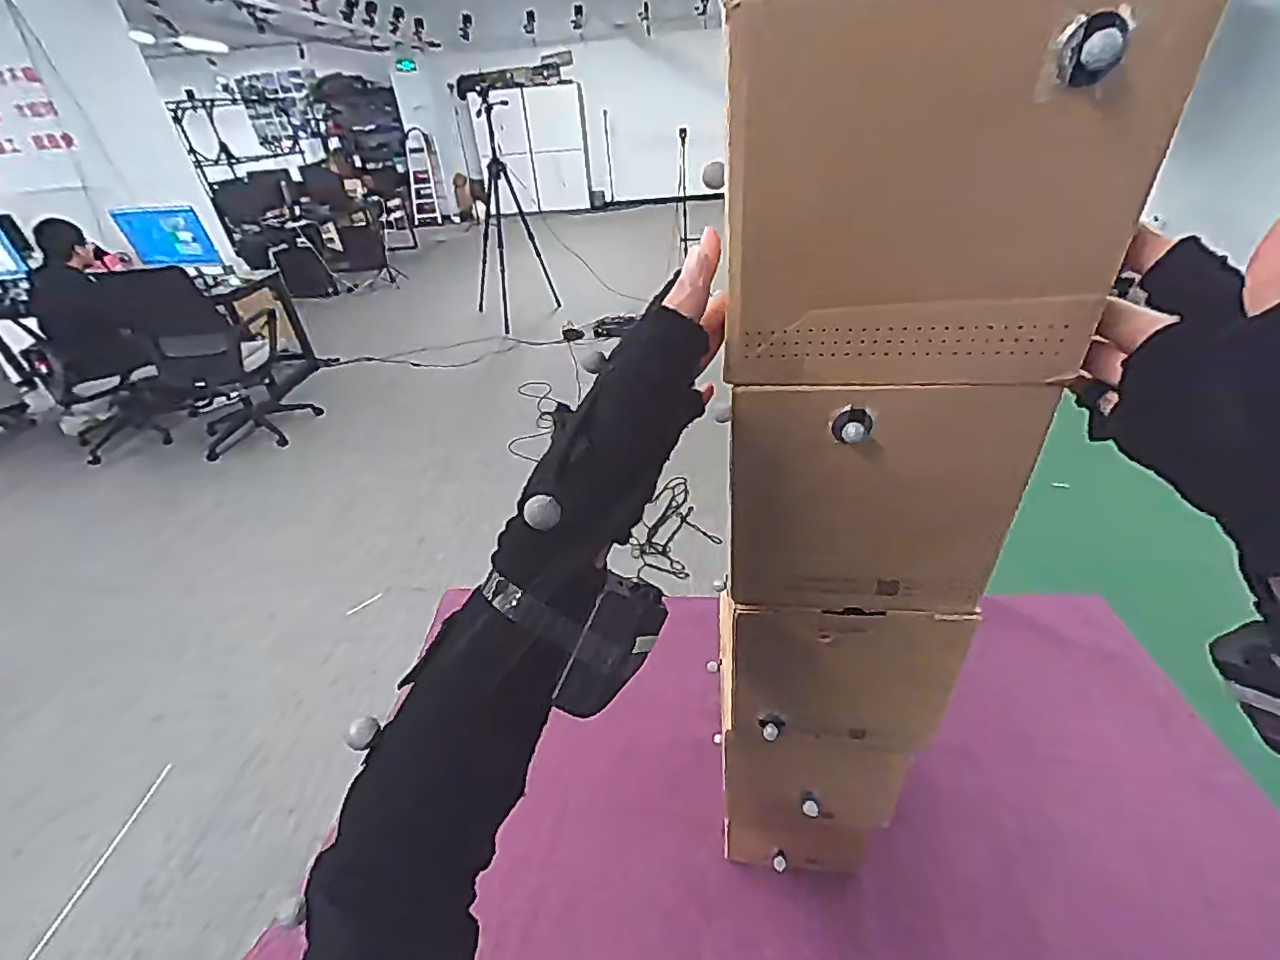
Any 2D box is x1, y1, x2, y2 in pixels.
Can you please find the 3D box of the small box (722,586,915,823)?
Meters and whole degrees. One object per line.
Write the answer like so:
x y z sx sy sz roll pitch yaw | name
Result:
0.174 0.237 0.590 0.168 0.176 0.179 -1 35 8 | small box

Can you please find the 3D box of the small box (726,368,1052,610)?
0.150 -0.030 0.401 0.168 0.176 0.179 0 34 10 | small box

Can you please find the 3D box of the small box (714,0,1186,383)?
0.135 -0.163 0.309 0.179 0.176 0.168 2 36 10 | small box

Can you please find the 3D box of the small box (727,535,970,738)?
0.164 0.108 0.490 0.168 0.176 0.179 0 34 8 | small box

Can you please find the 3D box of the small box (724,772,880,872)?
0.193 0.362 0.695 0.168 0.176 0.179 0 35 9 | small box
